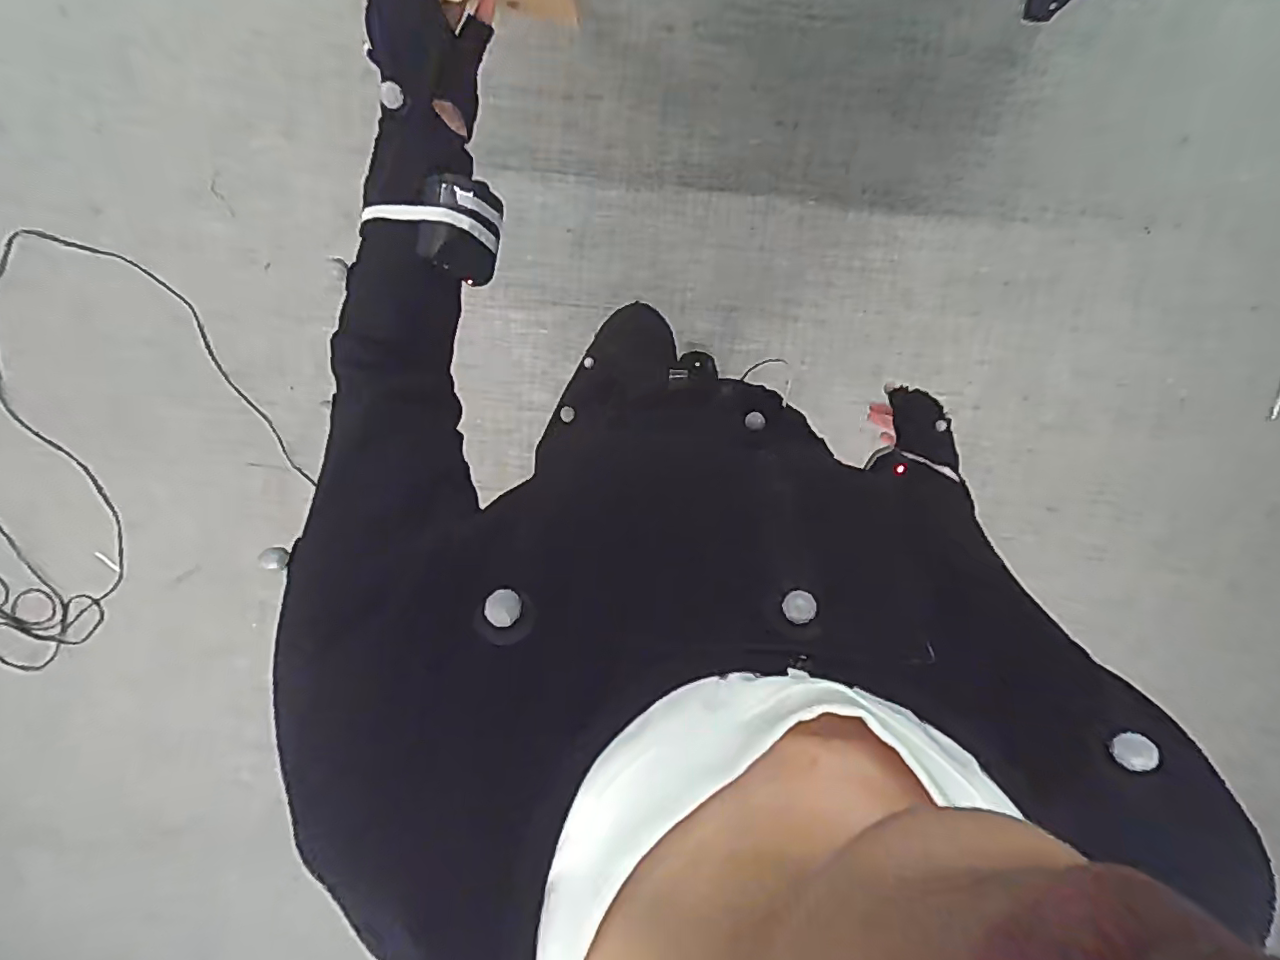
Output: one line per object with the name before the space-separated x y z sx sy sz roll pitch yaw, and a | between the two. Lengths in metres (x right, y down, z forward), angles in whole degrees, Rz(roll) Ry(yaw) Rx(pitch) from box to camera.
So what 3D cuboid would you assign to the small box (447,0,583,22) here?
small box | -0.126 -0.500 0.413 0.168 0.176 0.179 8 114 -2
